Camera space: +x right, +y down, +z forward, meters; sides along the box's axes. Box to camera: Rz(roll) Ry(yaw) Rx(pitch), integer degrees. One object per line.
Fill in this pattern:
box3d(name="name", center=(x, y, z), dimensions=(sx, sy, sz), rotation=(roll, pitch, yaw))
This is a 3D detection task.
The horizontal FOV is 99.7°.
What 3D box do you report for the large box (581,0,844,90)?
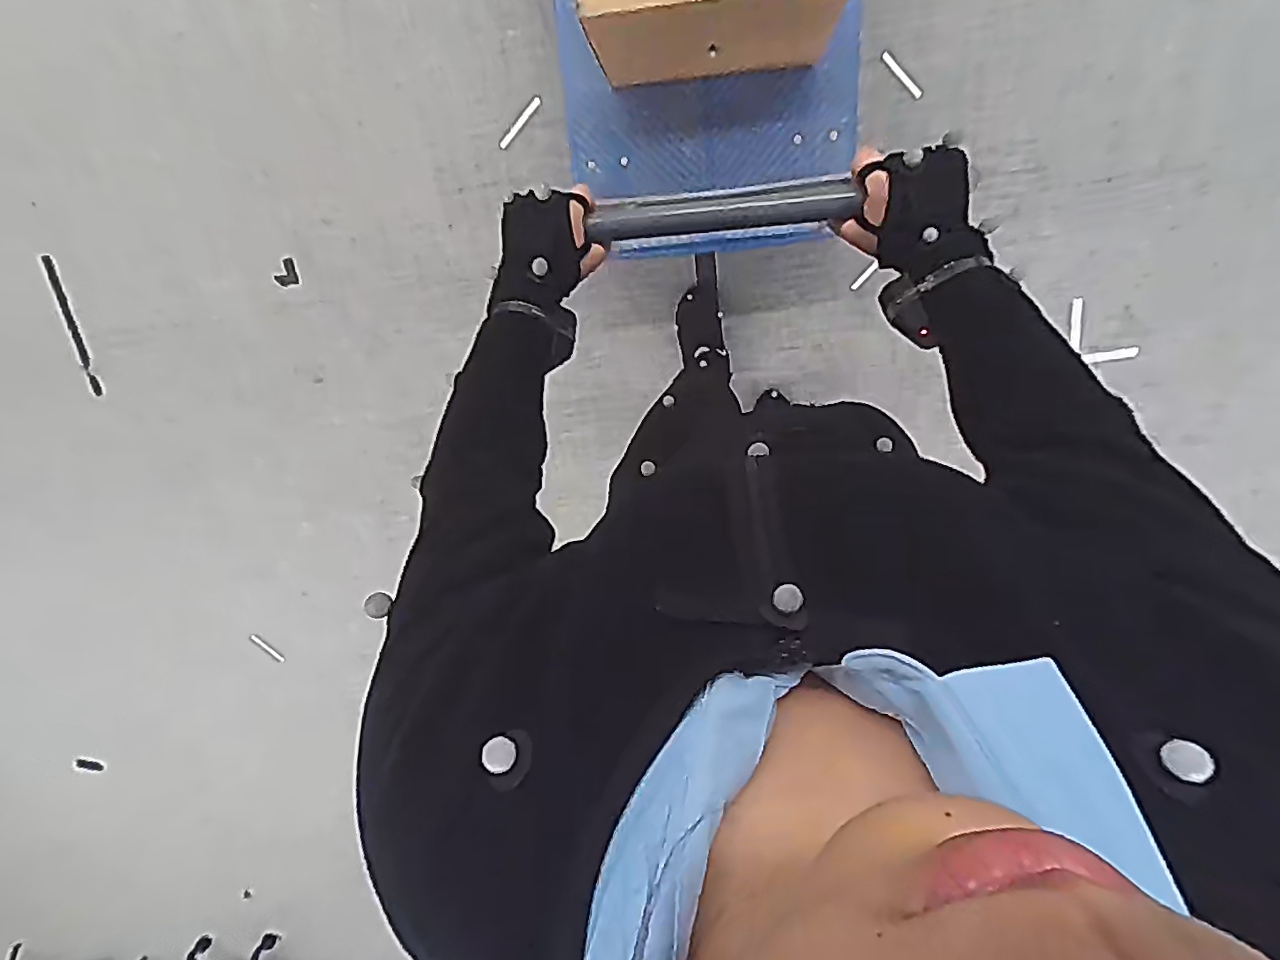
box3d(name="large box", center=(0.117, -0.898, 0.896), dimensions=(0.408, 0.320, 0.320), rotation=(-2, 108, 9))
